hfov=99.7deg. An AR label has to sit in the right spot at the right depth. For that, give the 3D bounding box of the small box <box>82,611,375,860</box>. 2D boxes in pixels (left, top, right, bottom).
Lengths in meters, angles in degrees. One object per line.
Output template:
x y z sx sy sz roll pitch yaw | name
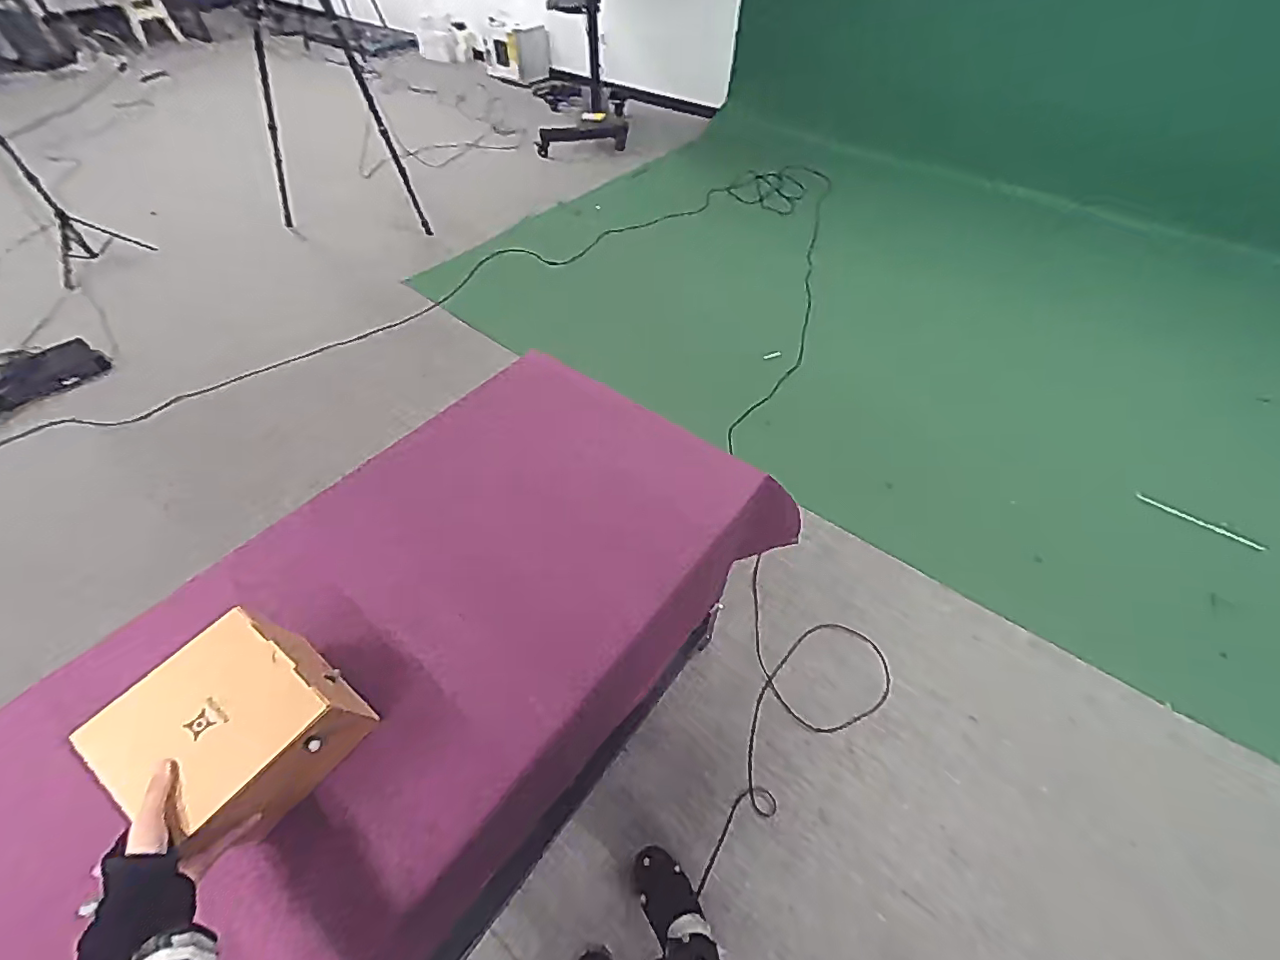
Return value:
-0.445 0.288 0.620 0.168 0.176 0.179 37 63 13 | small box
